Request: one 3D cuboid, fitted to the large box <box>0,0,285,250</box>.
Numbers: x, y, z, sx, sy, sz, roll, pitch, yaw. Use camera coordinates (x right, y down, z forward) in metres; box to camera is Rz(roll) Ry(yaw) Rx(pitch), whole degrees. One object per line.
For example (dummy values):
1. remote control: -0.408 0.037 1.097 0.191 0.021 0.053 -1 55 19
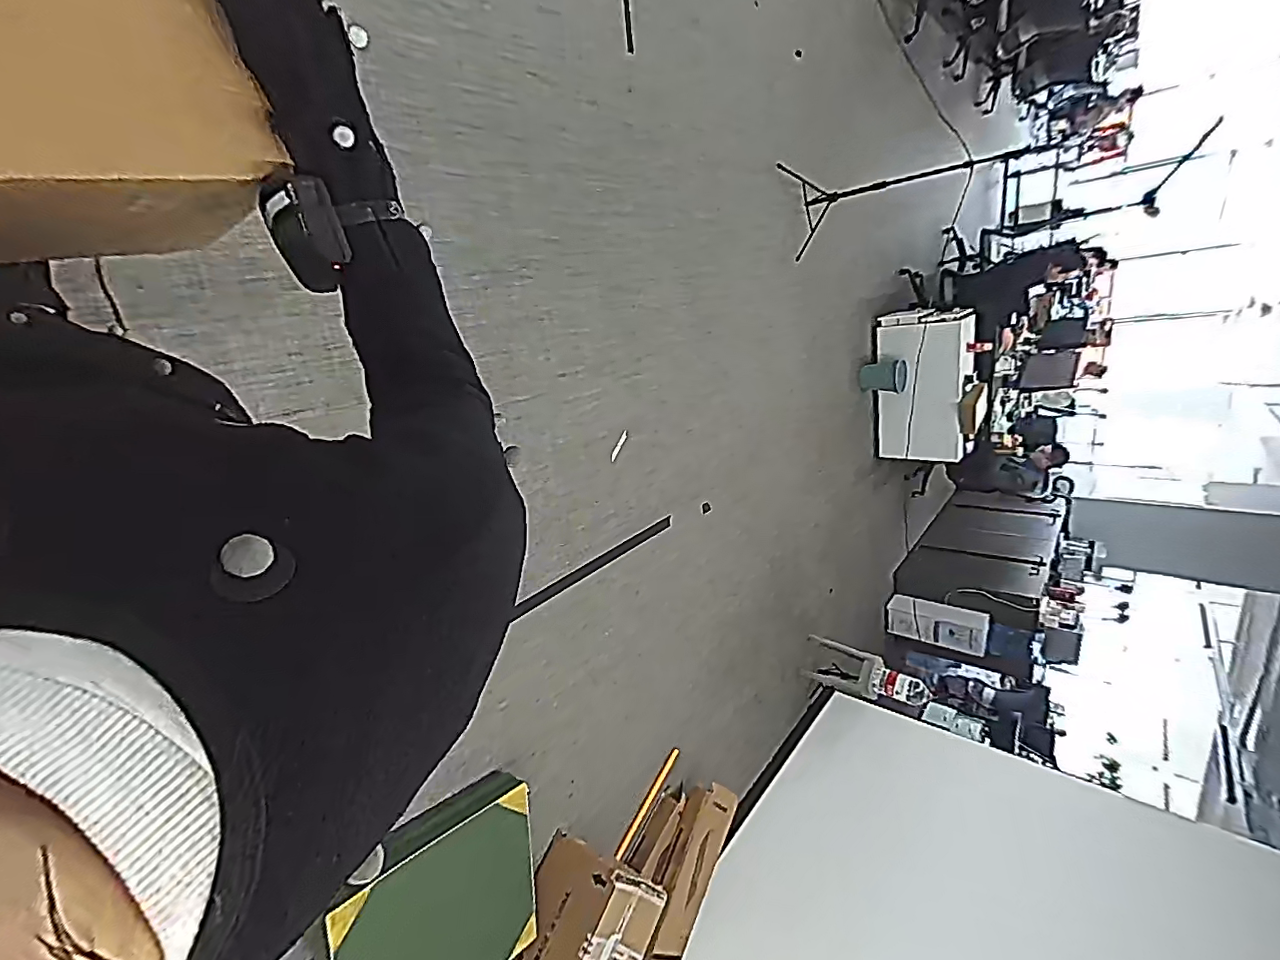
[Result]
1. large box: -0.512 -0.305 0.293 0.408 0.320 0.320 -30 120 -42
